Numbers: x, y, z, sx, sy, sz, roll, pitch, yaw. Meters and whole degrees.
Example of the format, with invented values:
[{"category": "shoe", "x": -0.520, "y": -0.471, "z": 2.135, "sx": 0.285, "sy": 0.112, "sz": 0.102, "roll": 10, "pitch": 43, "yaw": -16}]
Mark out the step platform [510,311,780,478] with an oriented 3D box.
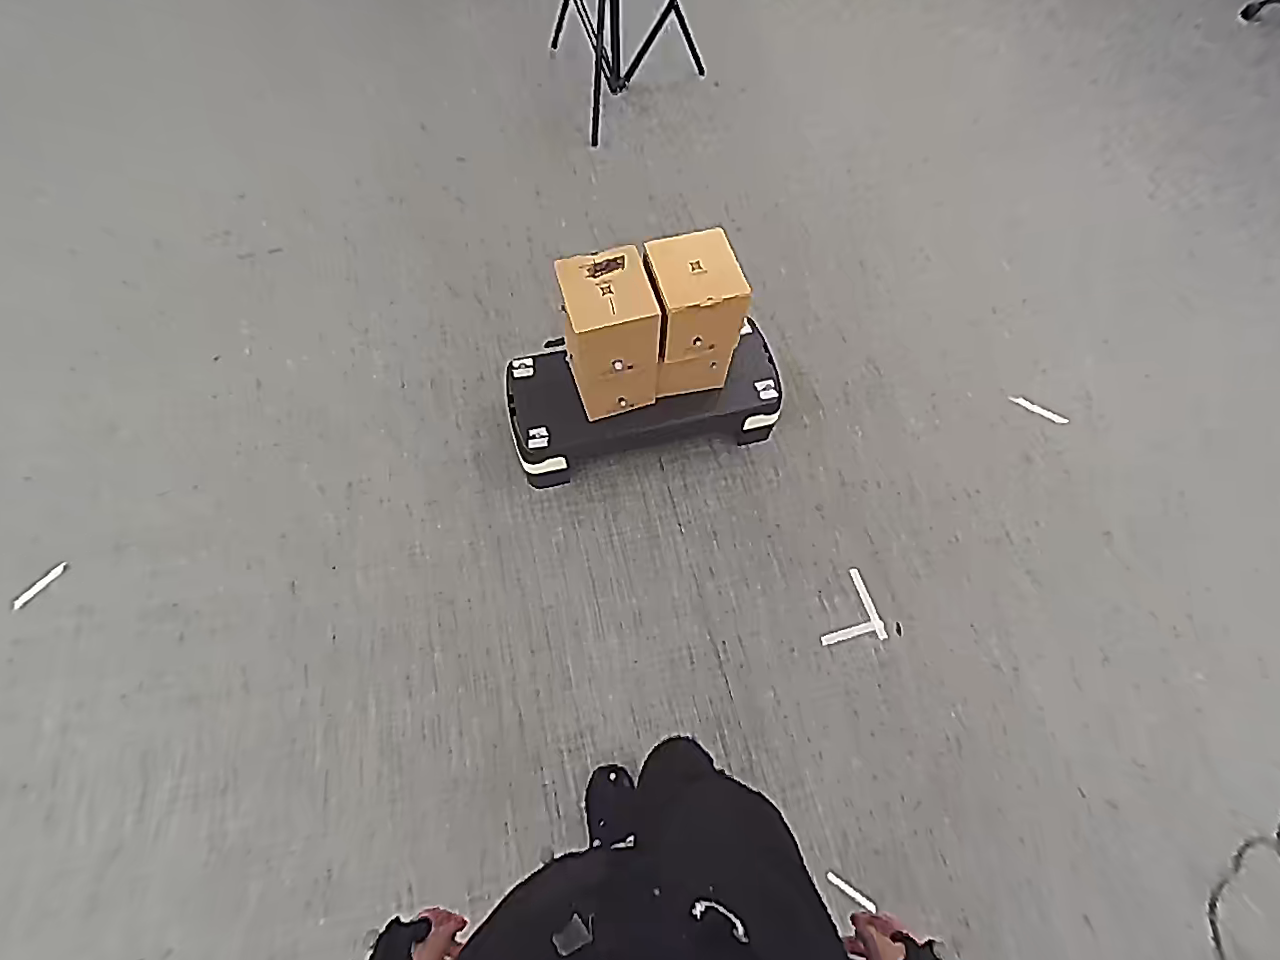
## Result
[{"category": "step platform", "x": 0.011, "y": -0.228, "z": 1.419, "sx": 0.684, "sy": 0.204, "sz": 0.286, "roll": -13, "pitch": 67, "yaw": -6}]
